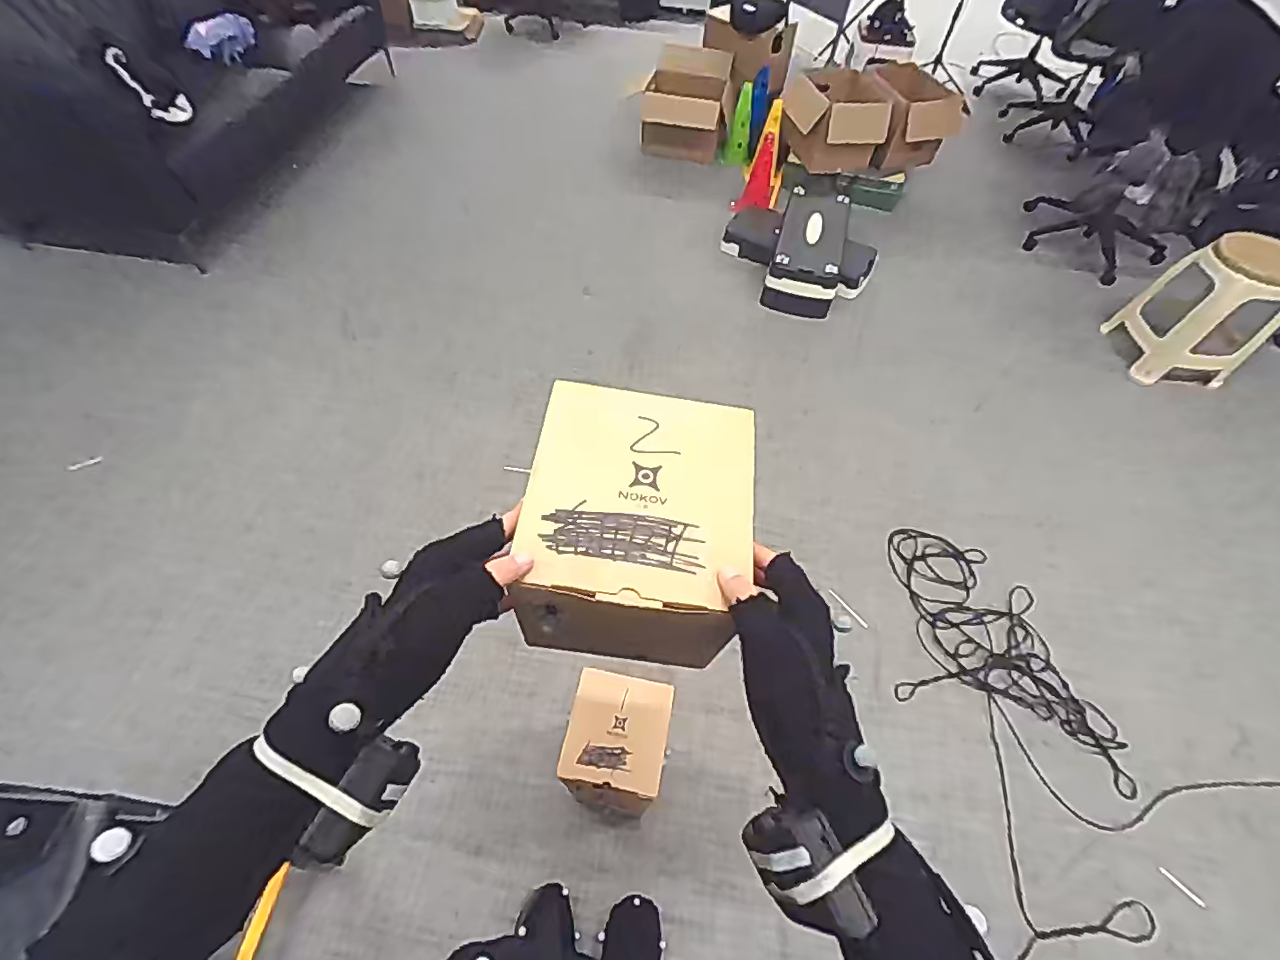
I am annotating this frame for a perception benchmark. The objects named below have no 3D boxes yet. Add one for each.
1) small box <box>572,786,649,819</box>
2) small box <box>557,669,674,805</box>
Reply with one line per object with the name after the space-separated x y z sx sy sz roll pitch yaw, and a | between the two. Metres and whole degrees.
-0.049 0.650 1.232 0.168 0.176 0.179 12 56 7 | small box
-0.039 0.463 0.965 0.168 0.176 0.179 11 55 5 | small box
